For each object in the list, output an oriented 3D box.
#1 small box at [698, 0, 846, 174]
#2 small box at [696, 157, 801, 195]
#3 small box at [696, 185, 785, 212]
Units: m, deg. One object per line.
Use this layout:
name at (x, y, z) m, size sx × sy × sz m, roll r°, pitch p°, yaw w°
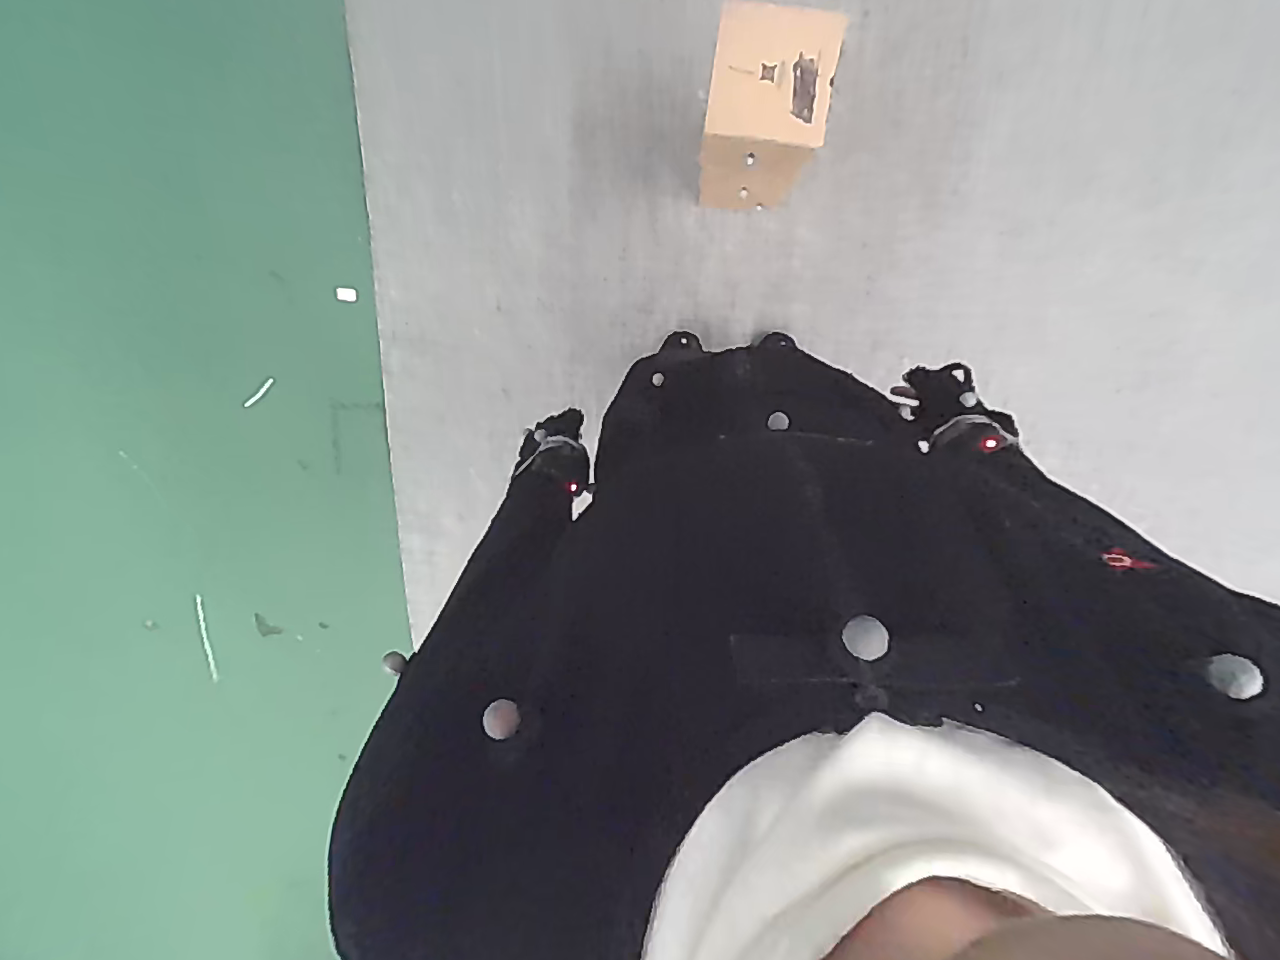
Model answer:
small box at (0.191, -0.594, 0.841) m, size 0.179 × 0.176 × 0.168 m, roll 10°, pitch 107°, yaw 2°
small box at (0.204, -0.639, 0.999) m, size 0.179 × 0.176 × 0.168 m, roll 7°, pitch 107°, yaw 1°
small box at (0.218, -0.682, 1.156) m, size 0.179 × 0.176 × 0.168 m, roll 5°, pitch 106°, yaw 3°
